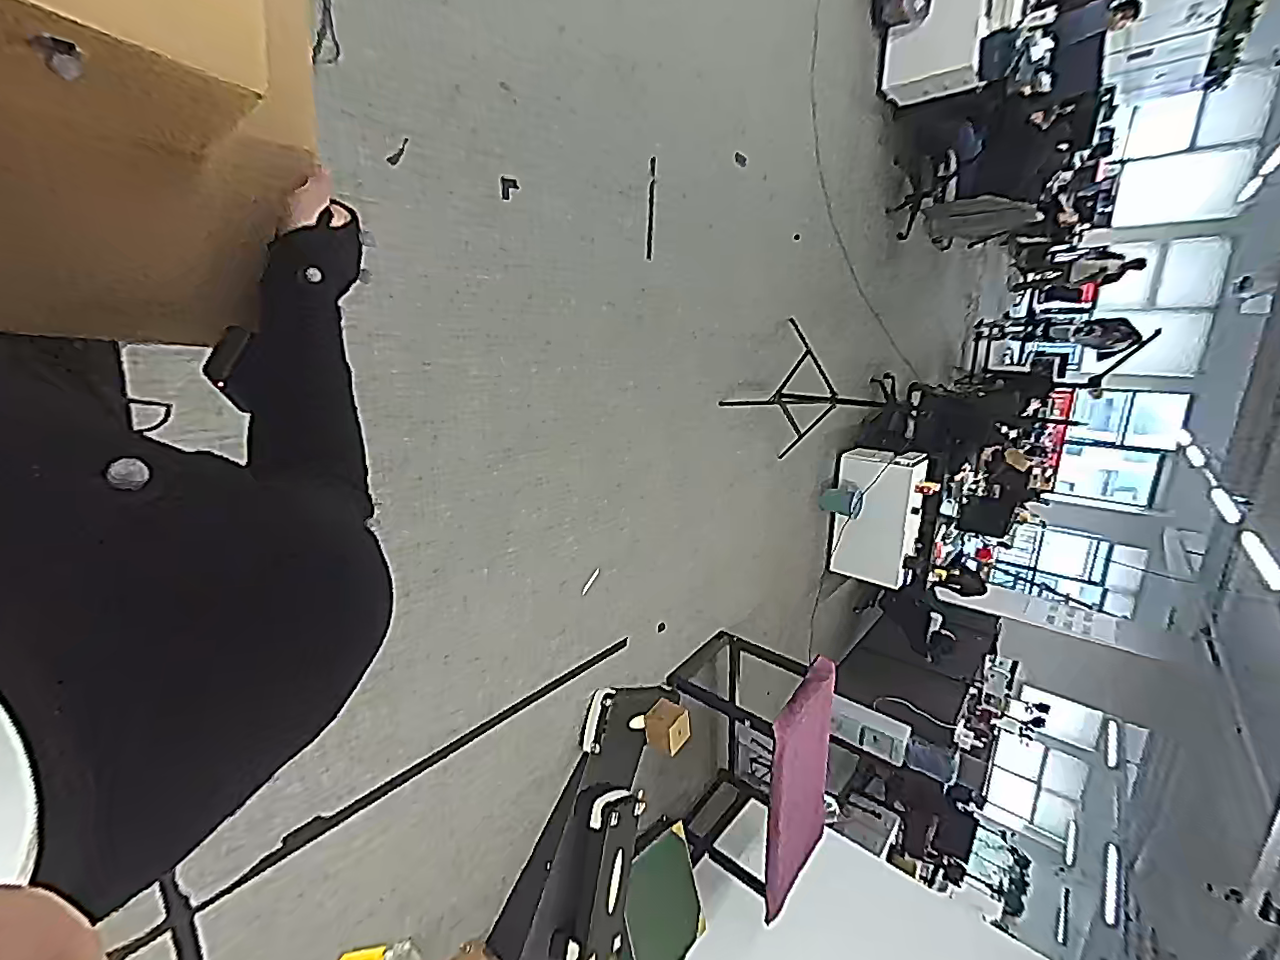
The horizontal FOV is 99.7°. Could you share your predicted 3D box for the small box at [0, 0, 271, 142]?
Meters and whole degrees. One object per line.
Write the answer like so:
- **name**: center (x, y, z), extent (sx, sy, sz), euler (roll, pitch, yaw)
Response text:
- **small box**: center (-0.373, -0.353, 0.358), extent (0.179, 0.176, 0.168), euler (-6, 103, -48)
